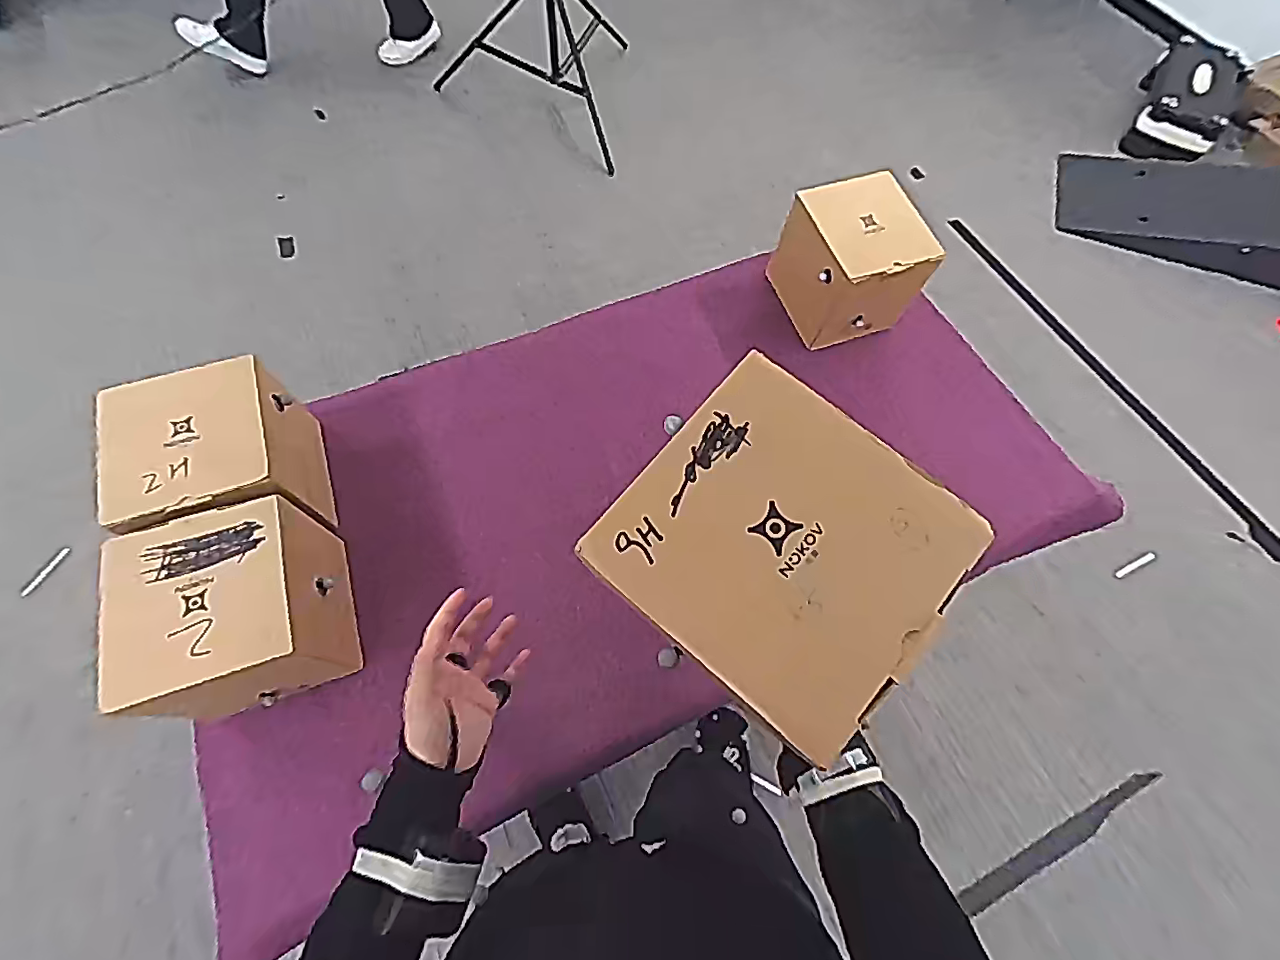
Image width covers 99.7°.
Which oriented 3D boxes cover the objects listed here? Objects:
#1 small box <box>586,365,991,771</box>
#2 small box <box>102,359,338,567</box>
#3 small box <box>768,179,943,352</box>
[{"bbox_3d":[0.085,0.058,0.385,0.179,0.176,0.168,40,78,9],"label":"small box"},{"bbox_3d":[-0.503,-0.015,0.669,0.168,0.176,0.179,-18,68,-11],"label":"small box"},{"bbox_3d":[0.330,-0.339,0.870,0.168,0.176,0.179,-18,72,-11],"label":"small box"}]
